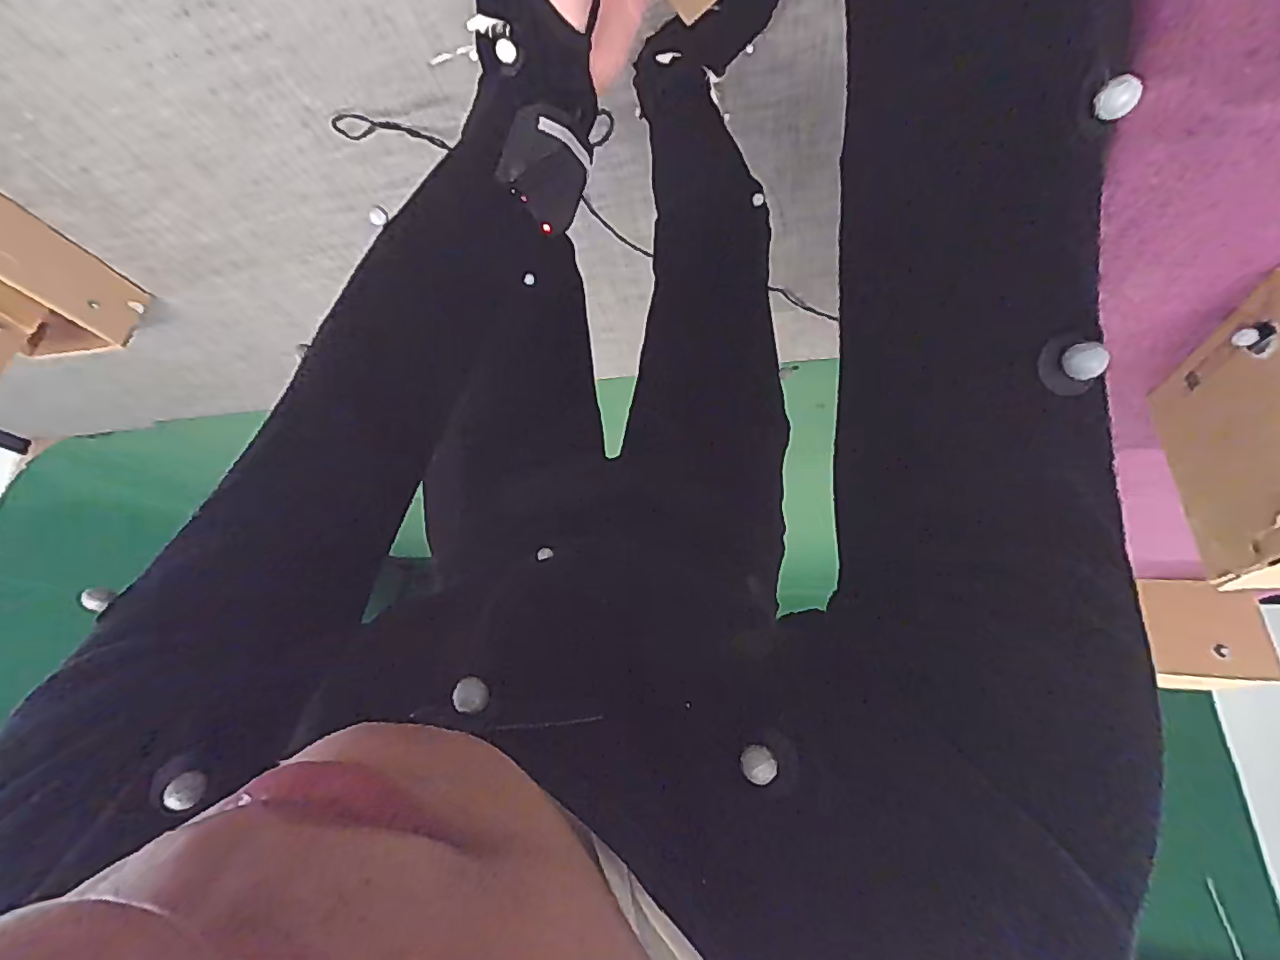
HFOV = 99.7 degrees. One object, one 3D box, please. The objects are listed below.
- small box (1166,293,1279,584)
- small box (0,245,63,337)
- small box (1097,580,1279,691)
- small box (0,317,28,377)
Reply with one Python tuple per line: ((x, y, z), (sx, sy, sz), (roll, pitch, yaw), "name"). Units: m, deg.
((0.496, -0.037, 0.341), (0.179, 0.176, 0.168), (-4, 156, 18), "small box")
((-1.695, -0.490, 1.414), (0.179, 0.176, 0.168), (-1, 153, 11), "small box")
((0.990, 0.284, 0.986), (0.179, 0.176, 0.168), (-1, 154, 15), "small box")
((-1.713, -0.344, 1.343), (0.179, 0.176, 0.168), (1, 154, 7), "small box")
